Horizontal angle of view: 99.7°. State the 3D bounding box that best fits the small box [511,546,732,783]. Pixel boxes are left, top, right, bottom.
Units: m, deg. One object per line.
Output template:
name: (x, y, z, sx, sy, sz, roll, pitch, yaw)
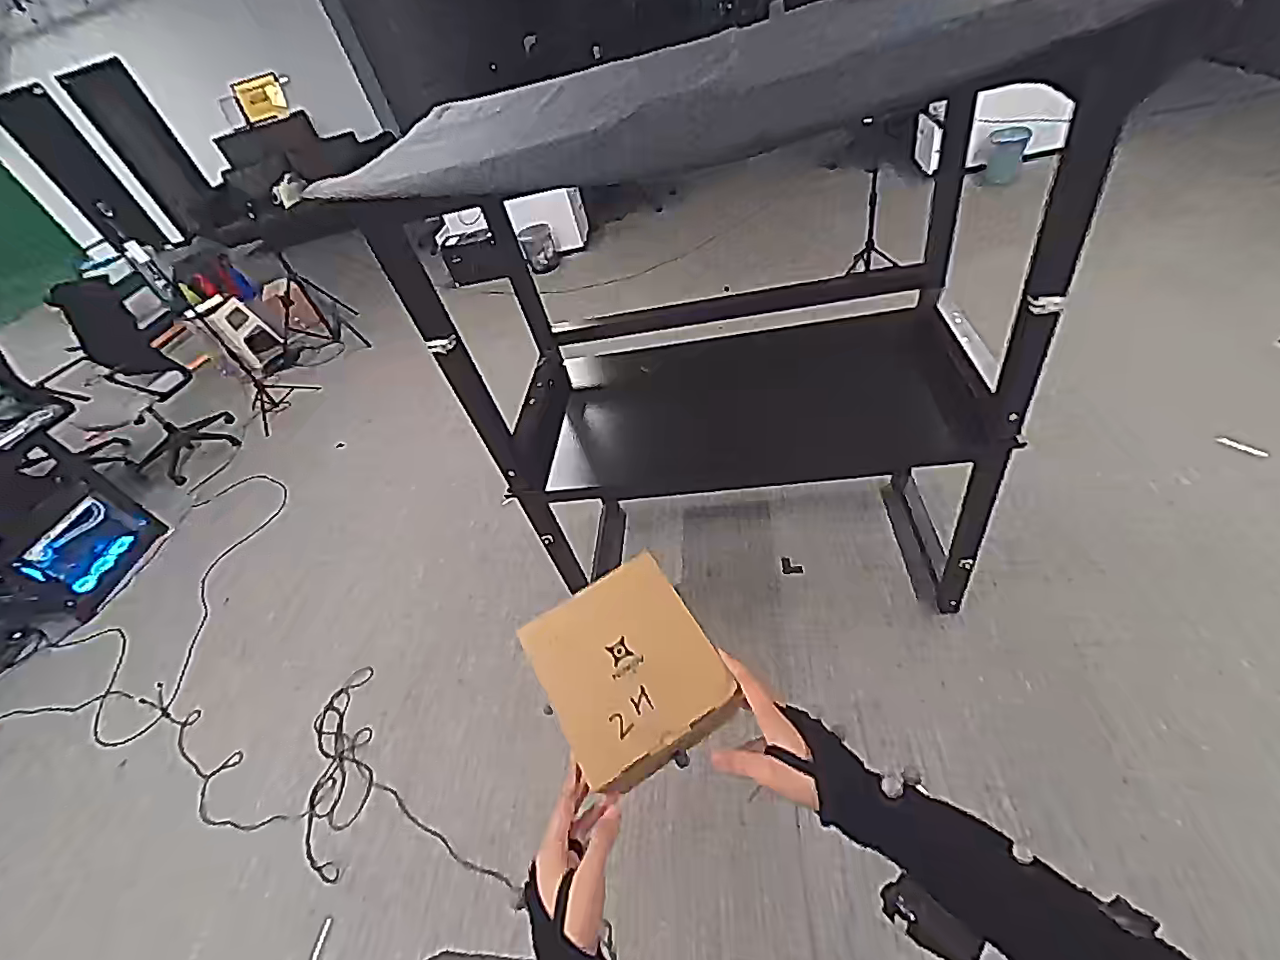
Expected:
small box: (-0.016, 0.211, 0.603, 0.168, 0.176, 0.179, -30, 60, -10)
